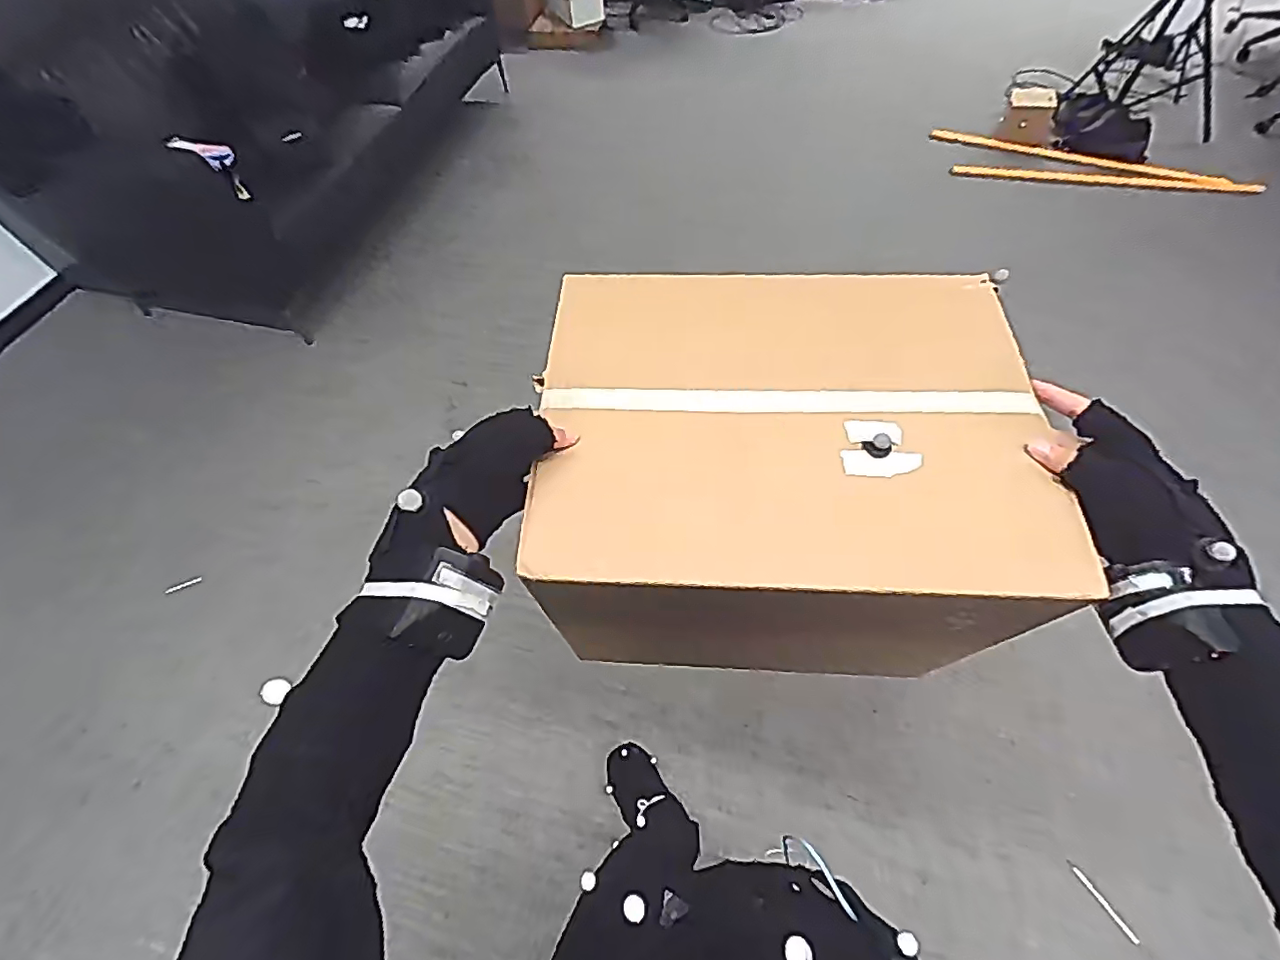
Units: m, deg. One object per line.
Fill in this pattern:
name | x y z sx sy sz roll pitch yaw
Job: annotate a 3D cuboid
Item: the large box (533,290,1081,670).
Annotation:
large box | 0.124 0.017 0.591 0.408 0.320 0.320 1 61 2
